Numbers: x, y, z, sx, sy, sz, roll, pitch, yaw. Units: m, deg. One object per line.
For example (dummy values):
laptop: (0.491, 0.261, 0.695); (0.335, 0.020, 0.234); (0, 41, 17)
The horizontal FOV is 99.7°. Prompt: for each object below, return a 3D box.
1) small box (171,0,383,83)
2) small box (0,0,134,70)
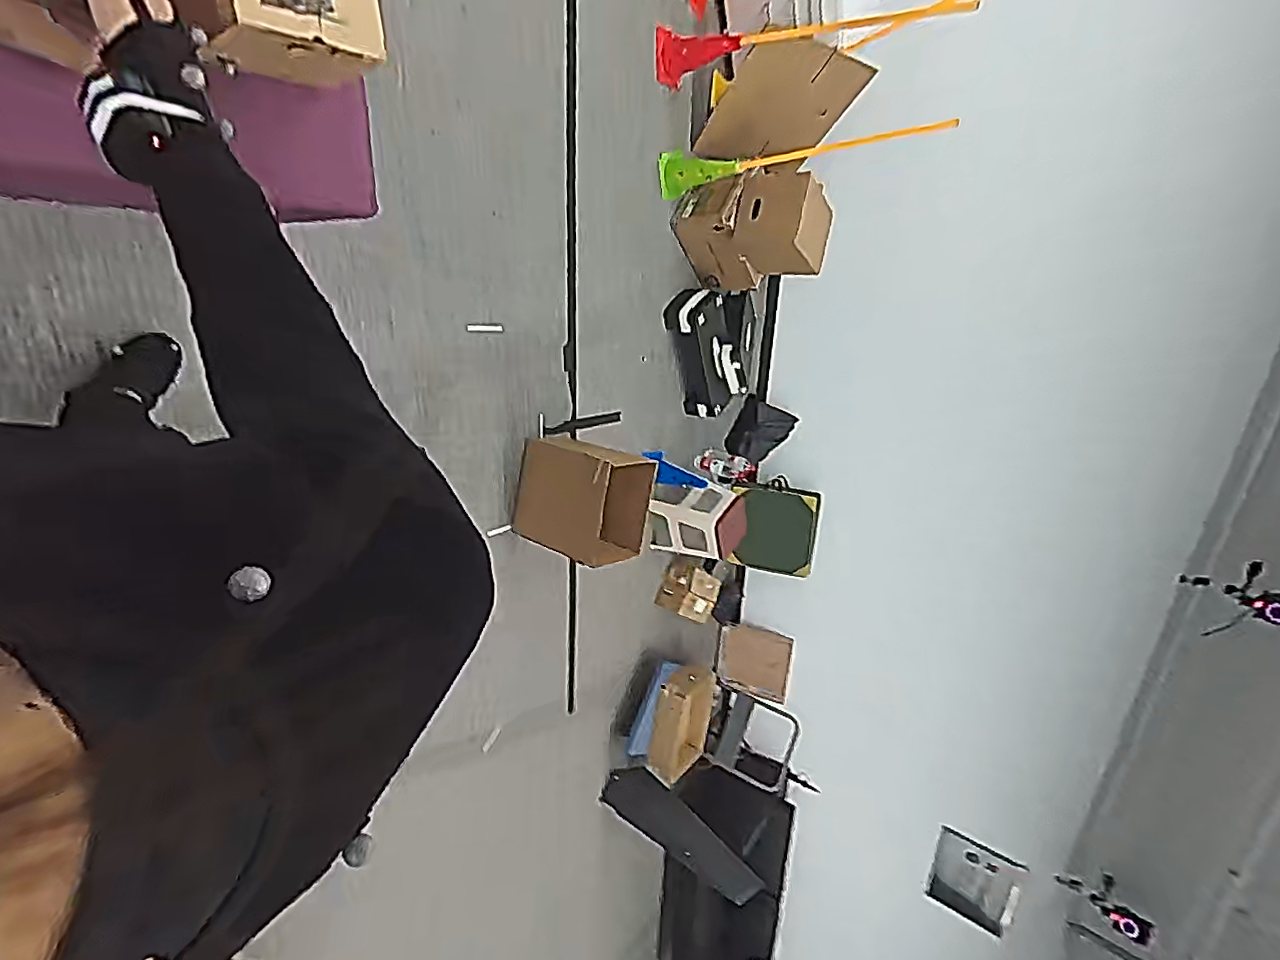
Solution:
small box: (-0.433, -0.593, 0.628); (0.168, 0.176, 0.179); (-27, 123, -47)
small box: (-0.559, -0.495, 0.448); (0.168, 0.176, 0.179); (-9, 105, -55)
